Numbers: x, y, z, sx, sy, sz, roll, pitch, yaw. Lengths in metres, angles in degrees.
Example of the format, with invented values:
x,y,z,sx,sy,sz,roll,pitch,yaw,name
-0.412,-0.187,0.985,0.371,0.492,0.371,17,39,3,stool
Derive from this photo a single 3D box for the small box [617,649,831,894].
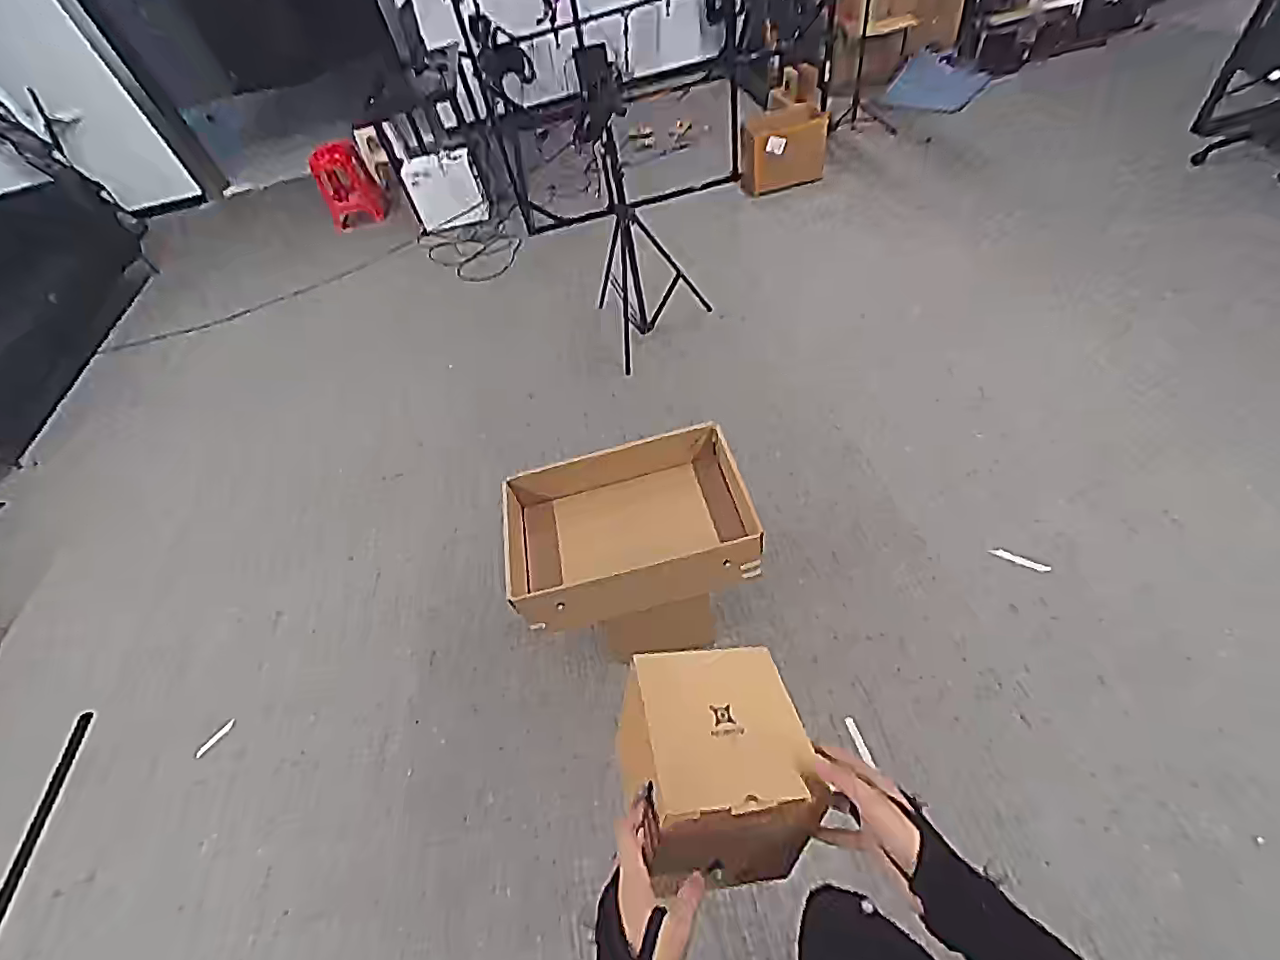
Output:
x,y,z,sx,sy,sz,roll,pitch,yaw,name
0.074,0.314,0.601,0.168,0.176,0.179,1,33,-14,small box
